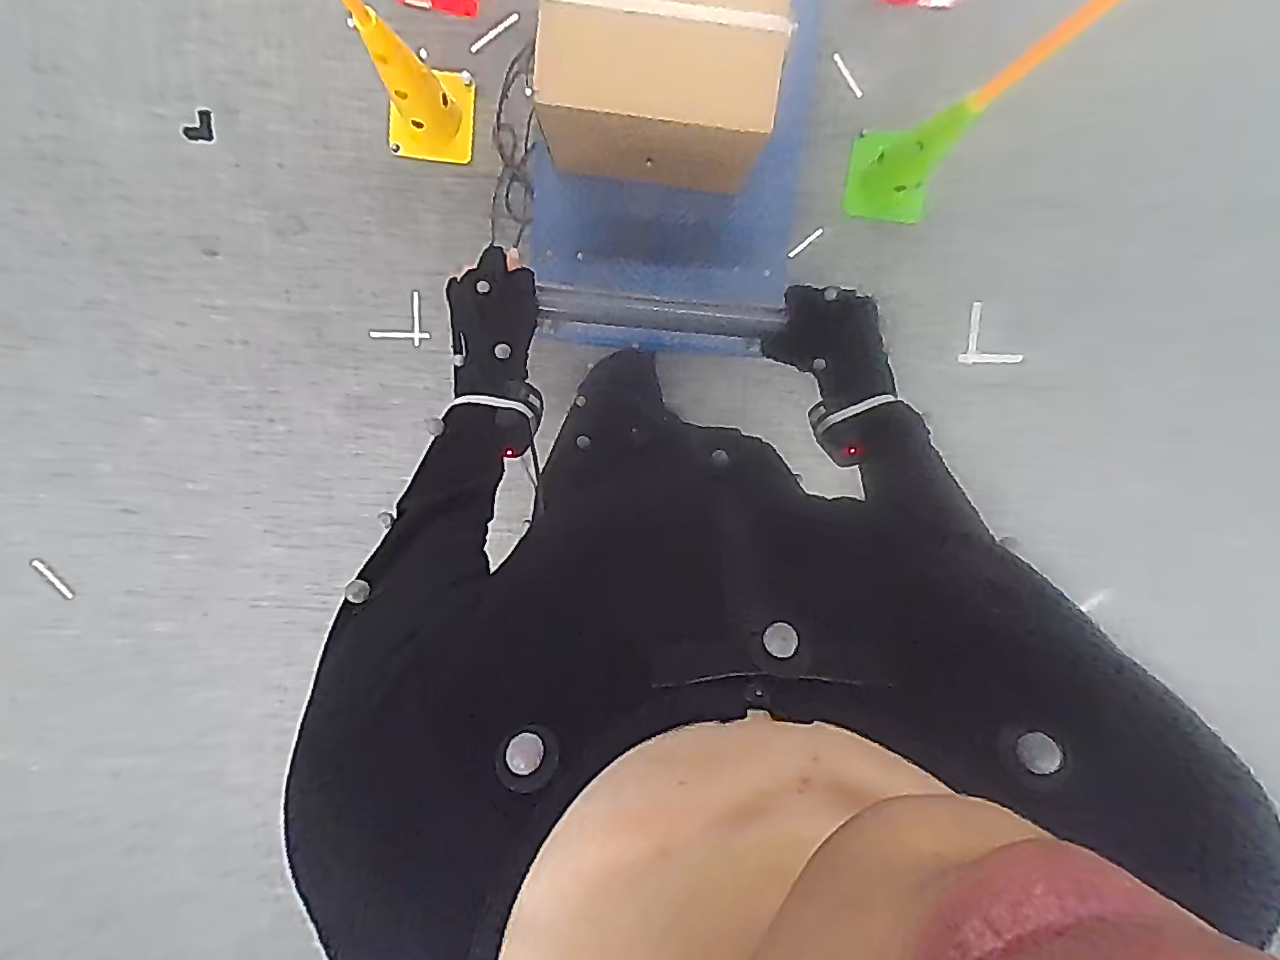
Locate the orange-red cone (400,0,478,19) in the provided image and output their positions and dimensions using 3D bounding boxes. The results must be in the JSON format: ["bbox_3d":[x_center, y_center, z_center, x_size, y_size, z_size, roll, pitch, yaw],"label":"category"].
[{"bbox_3d":[-0.464,-1.182,1.097,0.198,0.360,0.199,10,98,-3],"label":"orange-red cone"}]

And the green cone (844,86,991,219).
[{"bbox_3d":[0.626,-0.740,1.184,0.202,0.368,0.200,6,99,-3],"label":"green cone"}]

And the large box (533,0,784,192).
[{"bbox_3d":[0.034,-0.773,1.026,0.408,0.320,0.320,6,100,-1],"label":"large box"}]
